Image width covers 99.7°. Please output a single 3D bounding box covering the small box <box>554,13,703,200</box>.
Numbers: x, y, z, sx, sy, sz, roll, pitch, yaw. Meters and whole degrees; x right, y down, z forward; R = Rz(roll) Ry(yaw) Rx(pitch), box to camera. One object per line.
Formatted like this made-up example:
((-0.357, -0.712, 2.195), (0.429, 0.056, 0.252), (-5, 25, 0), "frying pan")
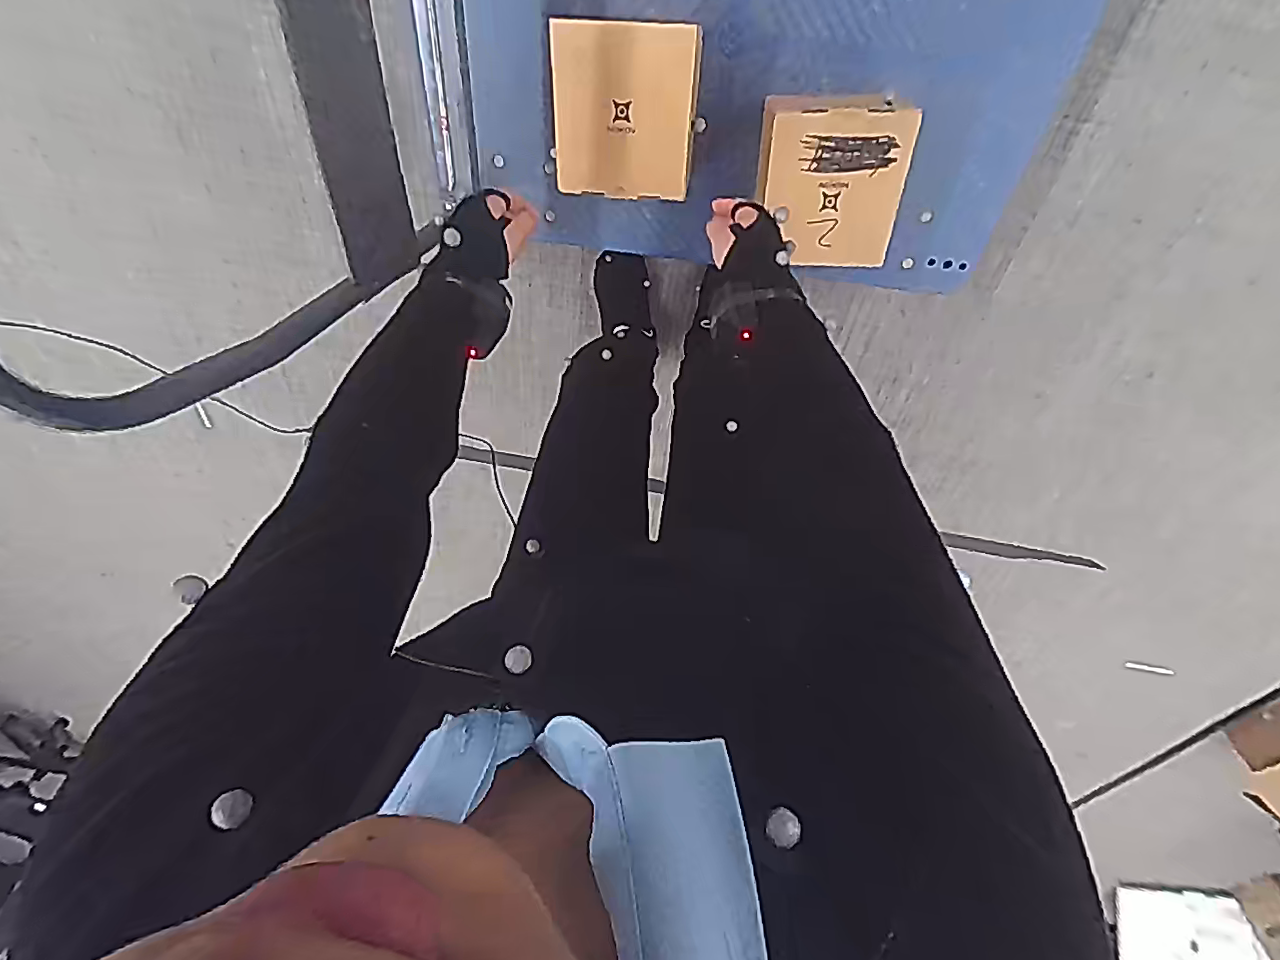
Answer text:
((-0.010, -0.481, 0.696), (0.168, 0.176, 0.179), (6, 131, 3), "small box")
